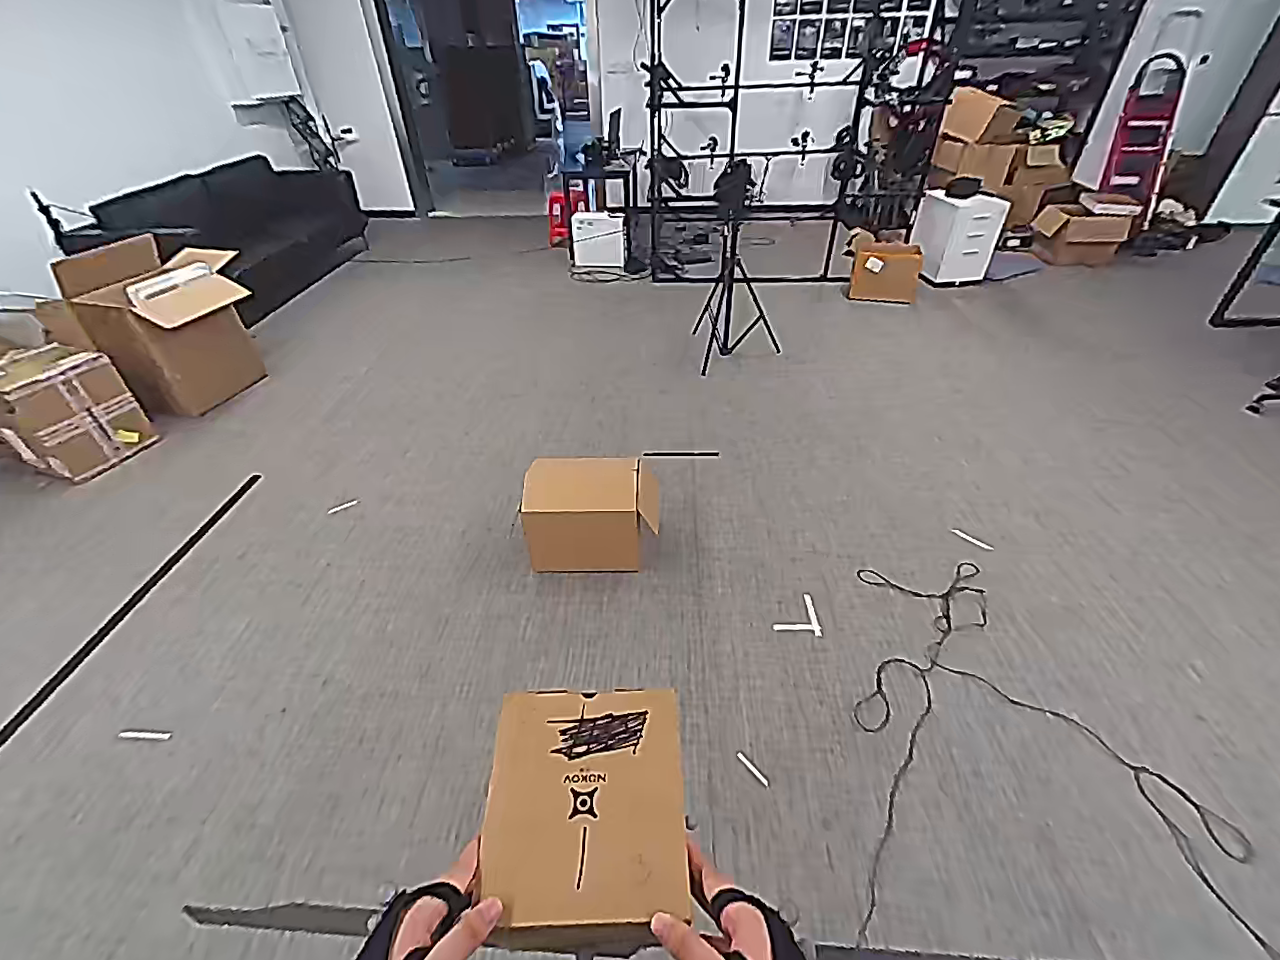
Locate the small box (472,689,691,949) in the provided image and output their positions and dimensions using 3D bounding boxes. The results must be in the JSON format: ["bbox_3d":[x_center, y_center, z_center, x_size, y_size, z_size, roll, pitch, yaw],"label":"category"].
[{"bbox_3d":[-0.045,0.320,0.514,0.168,0.176,0.179,-2,45,-1],"label":"small box"}]
